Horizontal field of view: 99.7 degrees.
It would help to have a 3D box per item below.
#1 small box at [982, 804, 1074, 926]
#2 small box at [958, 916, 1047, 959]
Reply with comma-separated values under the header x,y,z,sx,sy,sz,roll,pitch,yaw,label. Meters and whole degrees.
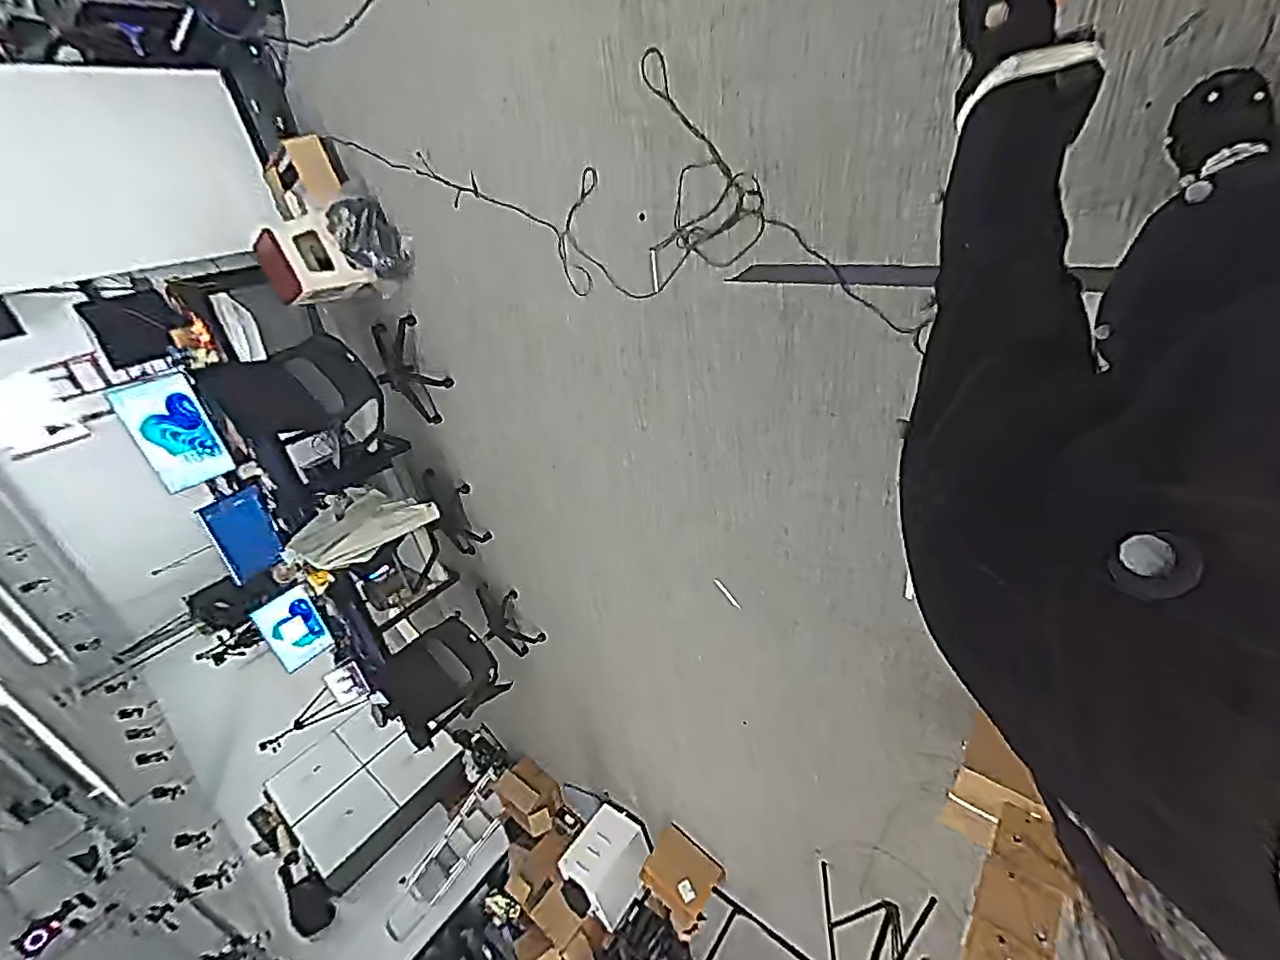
x,y,z,sx,sy,sz,roll,pitch,yaw,label
1.036,1.015,1.442,0.168,0.176,0.179,14,128,39,small box
0.825,1.168,1.241,0.168,0.176,0.179,16,128,36,small box
